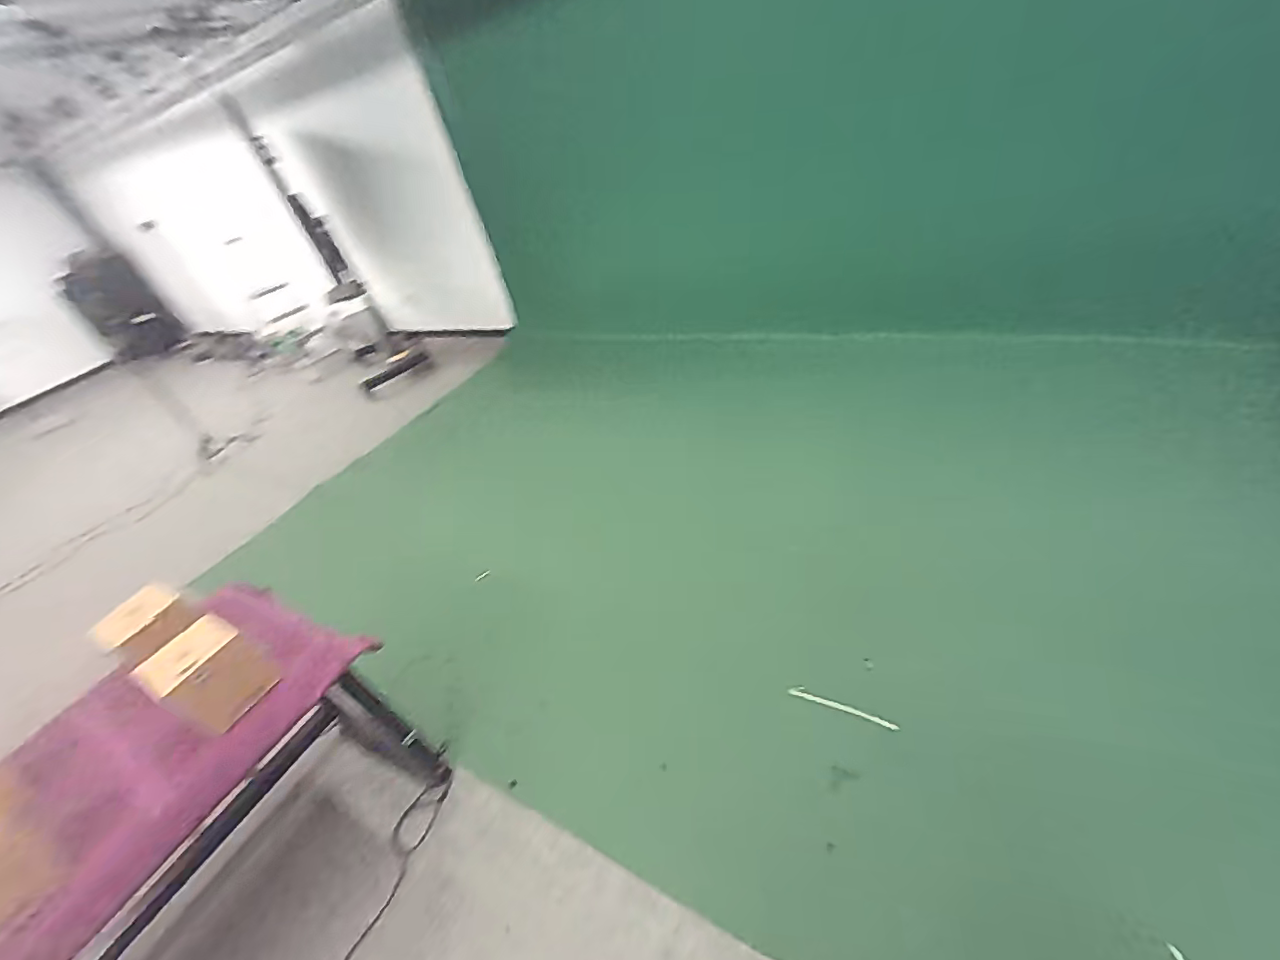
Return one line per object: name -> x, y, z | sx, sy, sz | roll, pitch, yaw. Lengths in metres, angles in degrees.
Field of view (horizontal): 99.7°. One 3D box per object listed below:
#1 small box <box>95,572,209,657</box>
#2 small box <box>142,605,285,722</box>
small box -> -1.240, 0.370, 1.410 | 0.179, 0.176, 0.168 | 9, 47, 30
small box -> -0.973, 0.422, 1.243 | 0.179, 0.176, 0.168 | 9, 45, 34
